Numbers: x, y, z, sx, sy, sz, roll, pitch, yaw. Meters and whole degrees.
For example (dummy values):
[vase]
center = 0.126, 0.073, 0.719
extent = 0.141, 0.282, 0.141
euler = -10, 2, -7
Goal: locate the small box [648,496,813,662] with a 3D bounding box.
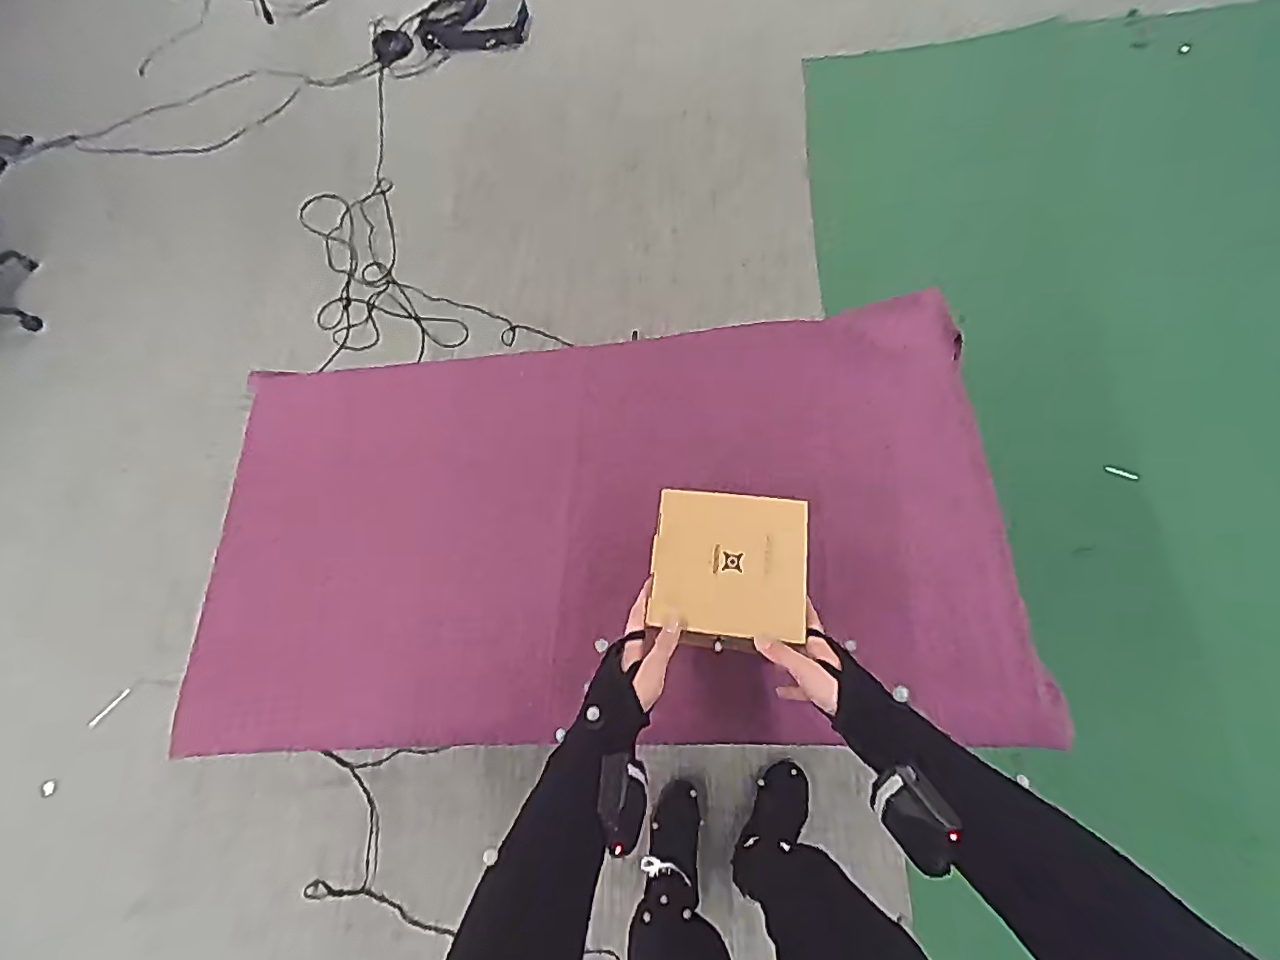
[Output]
[small box]
center = 0.112, 0.132, 0.685
extent = 0.179, 0.176, 0.168
euler = 6, 69, 8
